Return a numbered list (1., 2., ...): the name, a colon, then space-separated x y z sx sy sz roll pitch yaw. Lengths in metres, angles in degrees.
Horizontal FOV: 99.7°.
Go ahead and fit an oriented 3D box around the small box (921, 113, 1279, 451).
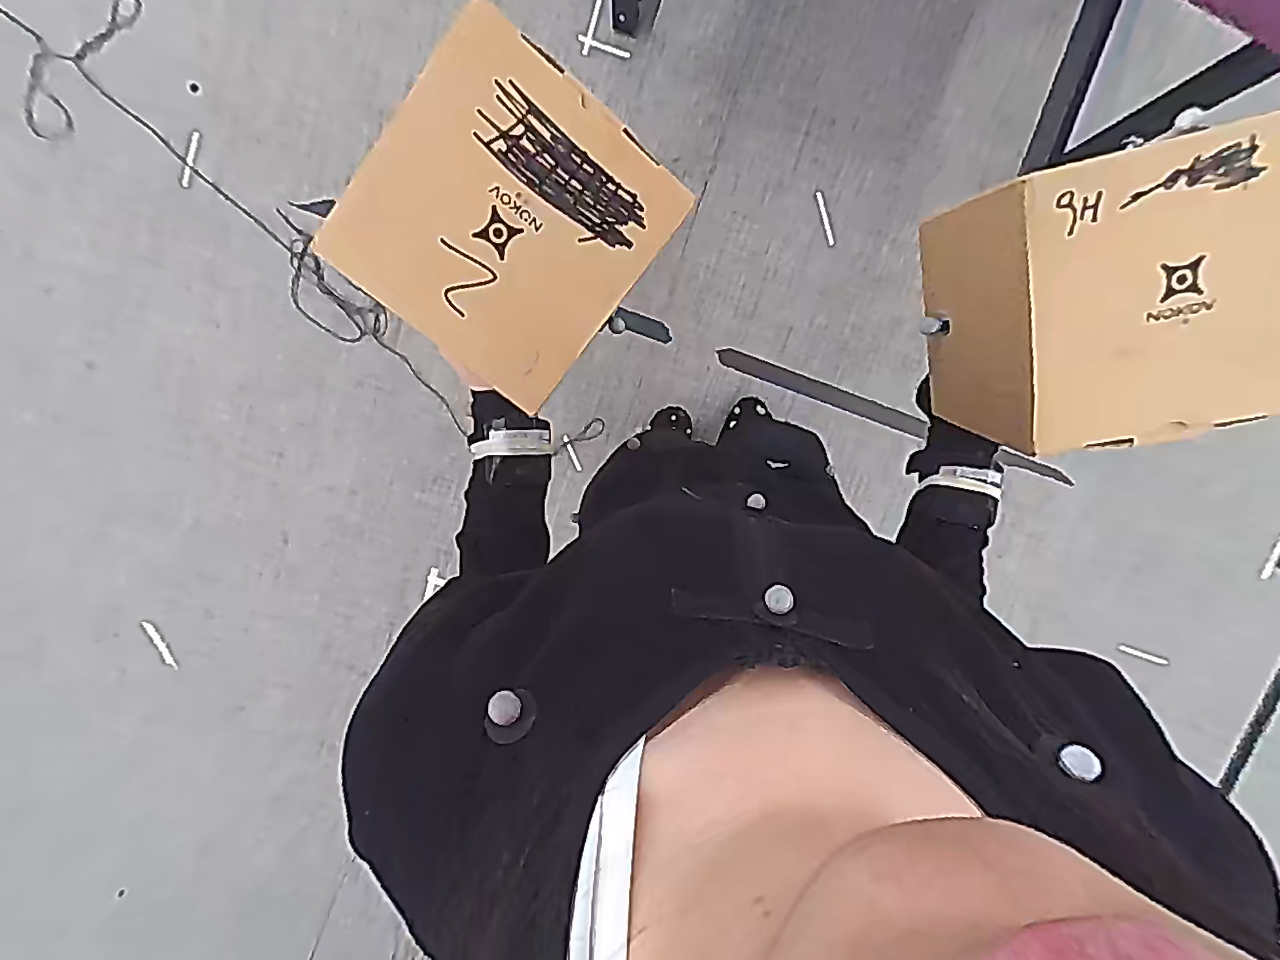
1. small box: 0.330 -0.138 0.405 0.168 0.176 0.179 -10 106 9
